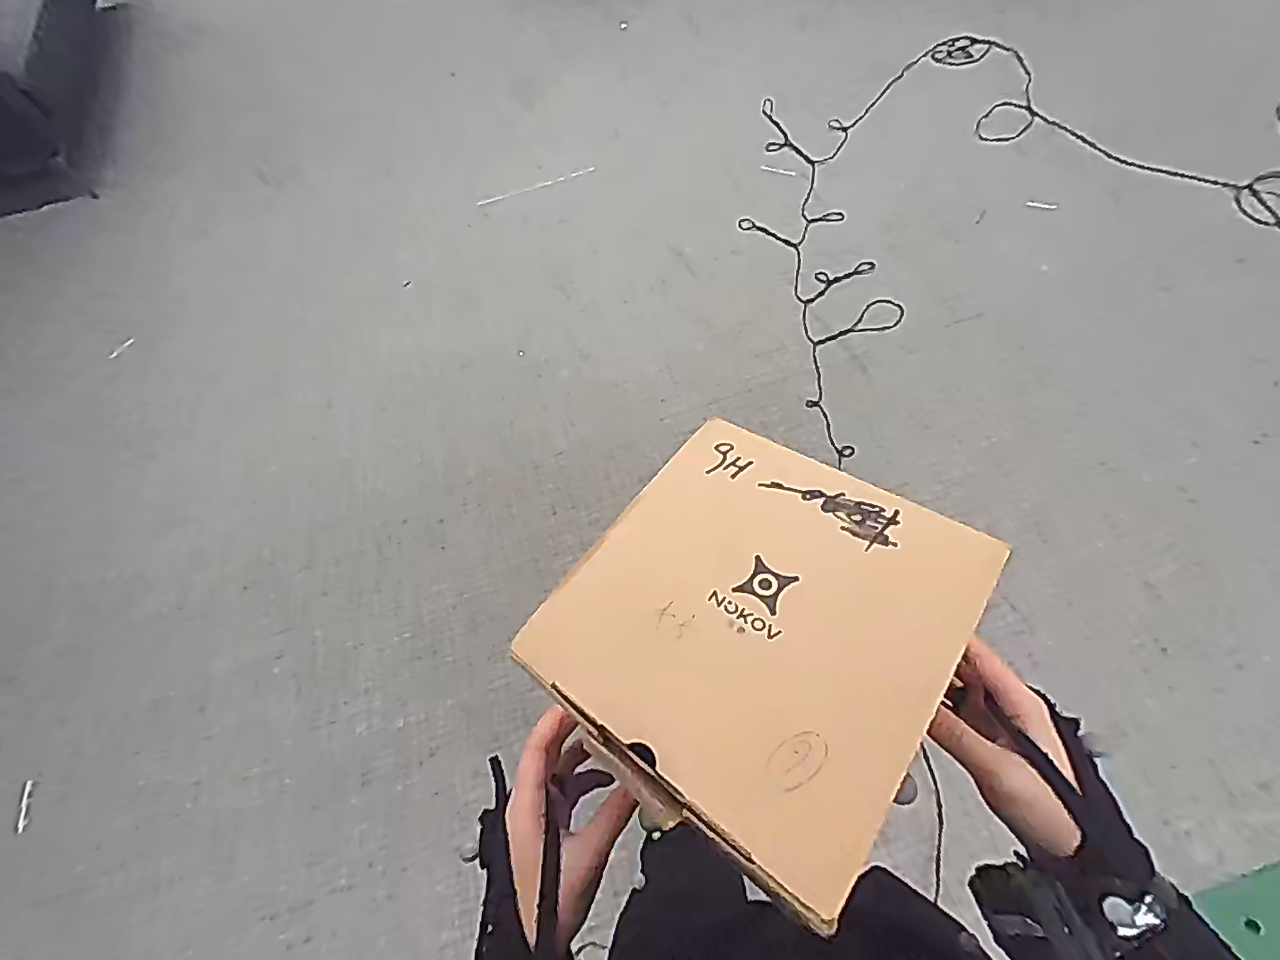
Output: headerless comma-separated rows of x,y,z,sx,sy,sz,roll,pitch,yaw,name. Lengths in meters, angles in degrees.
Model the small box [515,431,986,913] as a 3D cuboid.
0.064,0.110,0.323,0.168,0.176,0.179,29,64,29,small box
